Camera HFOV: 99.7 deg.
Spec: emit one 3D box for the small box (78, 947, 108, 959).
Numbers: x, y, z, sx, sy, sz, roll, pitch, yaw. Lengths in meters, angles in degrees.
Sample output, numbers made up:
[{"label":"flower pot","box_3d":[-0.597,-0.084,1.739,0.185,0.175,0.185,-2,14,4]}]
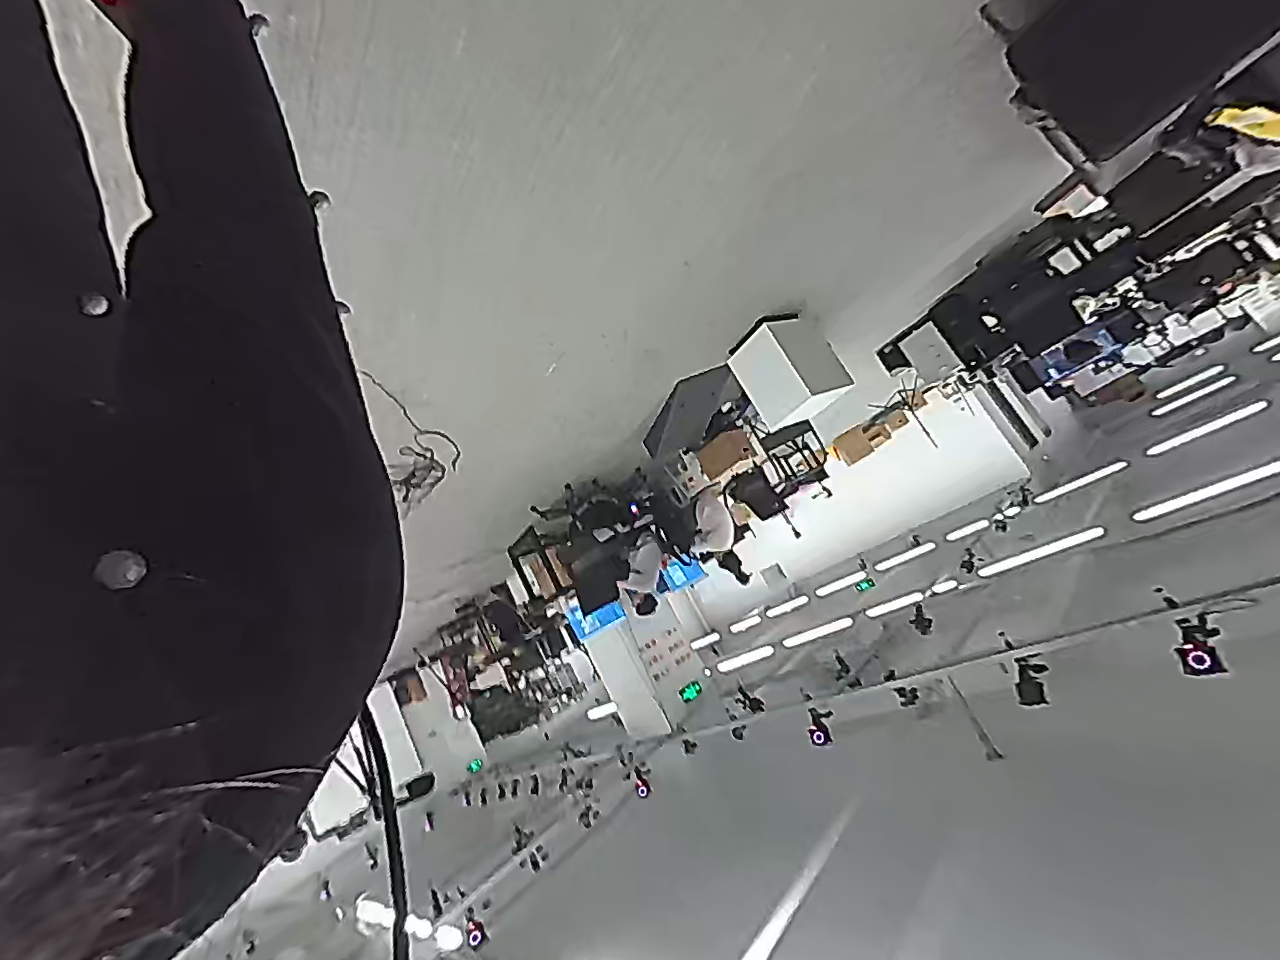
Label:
[{"label":"small box","box_3d":[-1.698,1.545,1.614,0.179,0.176,0.168,-39,165,34]}]
